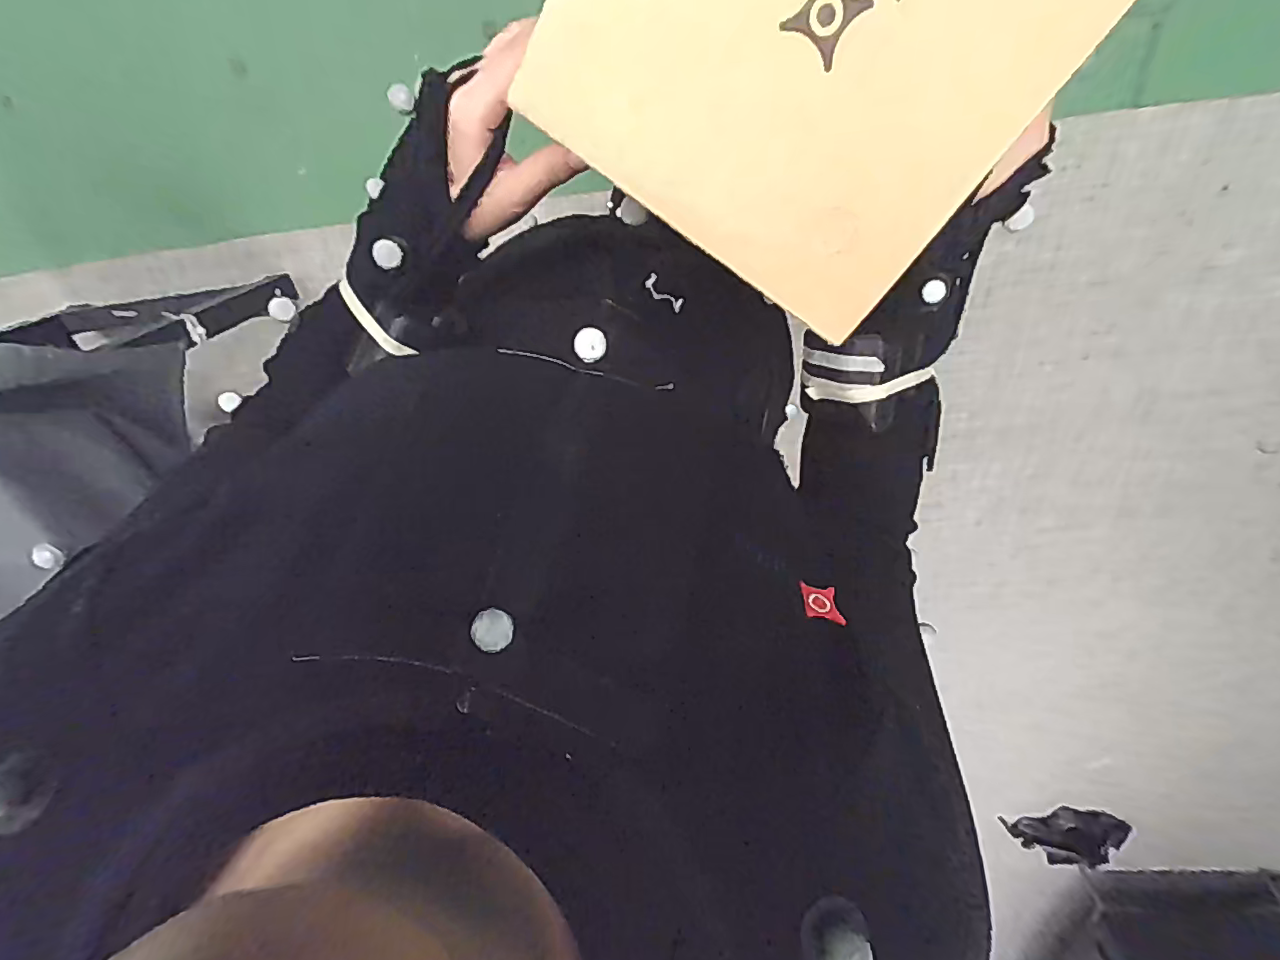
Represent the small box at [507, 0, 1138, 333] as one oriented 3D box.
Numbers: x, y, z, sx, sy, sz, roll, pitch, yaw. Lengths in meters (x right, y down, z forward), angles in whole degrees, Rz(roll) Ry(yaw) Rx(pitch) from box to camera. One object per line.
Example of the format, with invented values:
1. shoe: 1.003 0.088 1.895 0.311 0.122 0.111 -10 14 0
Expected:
1. small box: 0.069 -0.201 0.242 0.168 0.176 0.179 30 116 -15
